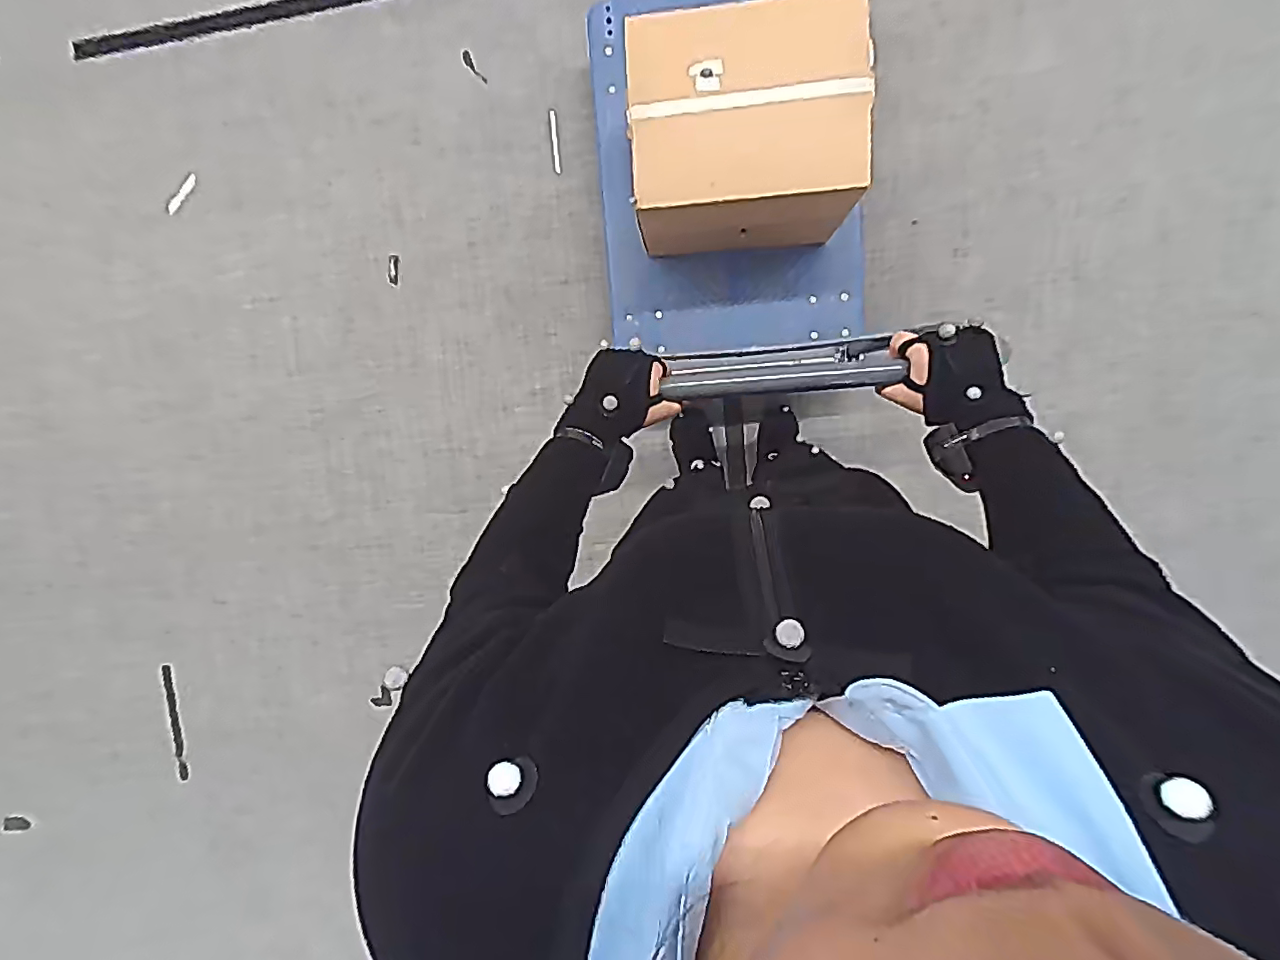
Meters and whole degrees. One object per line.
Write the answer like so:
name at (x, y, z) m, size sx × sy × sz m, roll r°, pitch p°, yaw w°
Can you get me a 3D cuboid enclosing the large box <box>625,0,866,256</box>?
large box at (0.198, -0.663, 1.080) m, size 0.408 × 0.320 × 0.320 m, roll -3°, pitch 96°, yaw 7°
